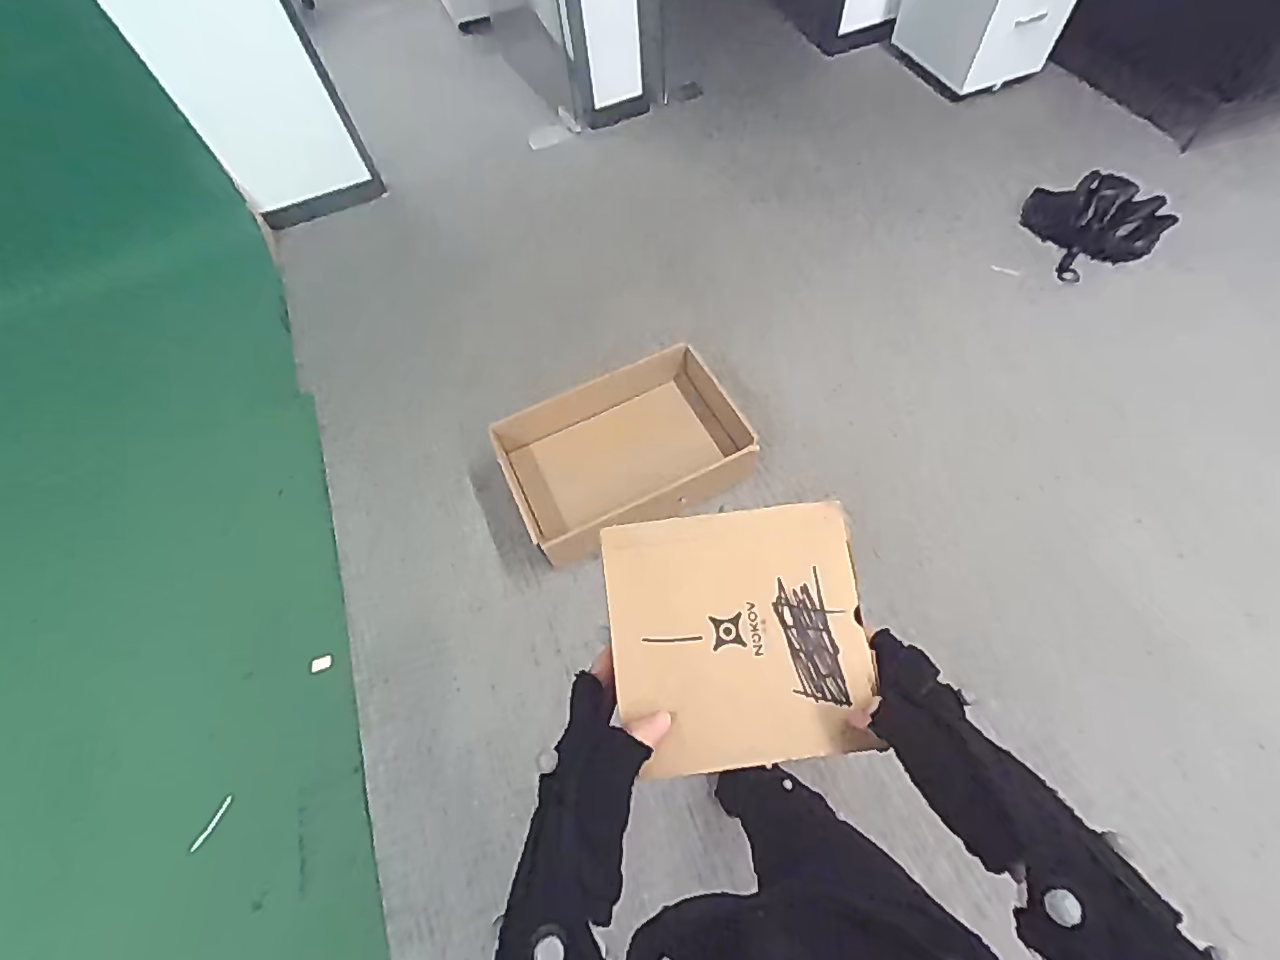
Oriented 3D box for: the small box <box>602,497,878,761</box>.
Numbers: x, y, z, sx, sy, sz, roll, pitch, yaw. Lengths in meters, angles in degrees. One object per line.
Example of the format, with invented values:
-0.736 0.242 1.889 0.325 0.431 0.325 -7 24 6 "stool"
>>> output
0.066 0.118 0.455 0.179 0.176 0.168 -7 75 -1 "small box"
